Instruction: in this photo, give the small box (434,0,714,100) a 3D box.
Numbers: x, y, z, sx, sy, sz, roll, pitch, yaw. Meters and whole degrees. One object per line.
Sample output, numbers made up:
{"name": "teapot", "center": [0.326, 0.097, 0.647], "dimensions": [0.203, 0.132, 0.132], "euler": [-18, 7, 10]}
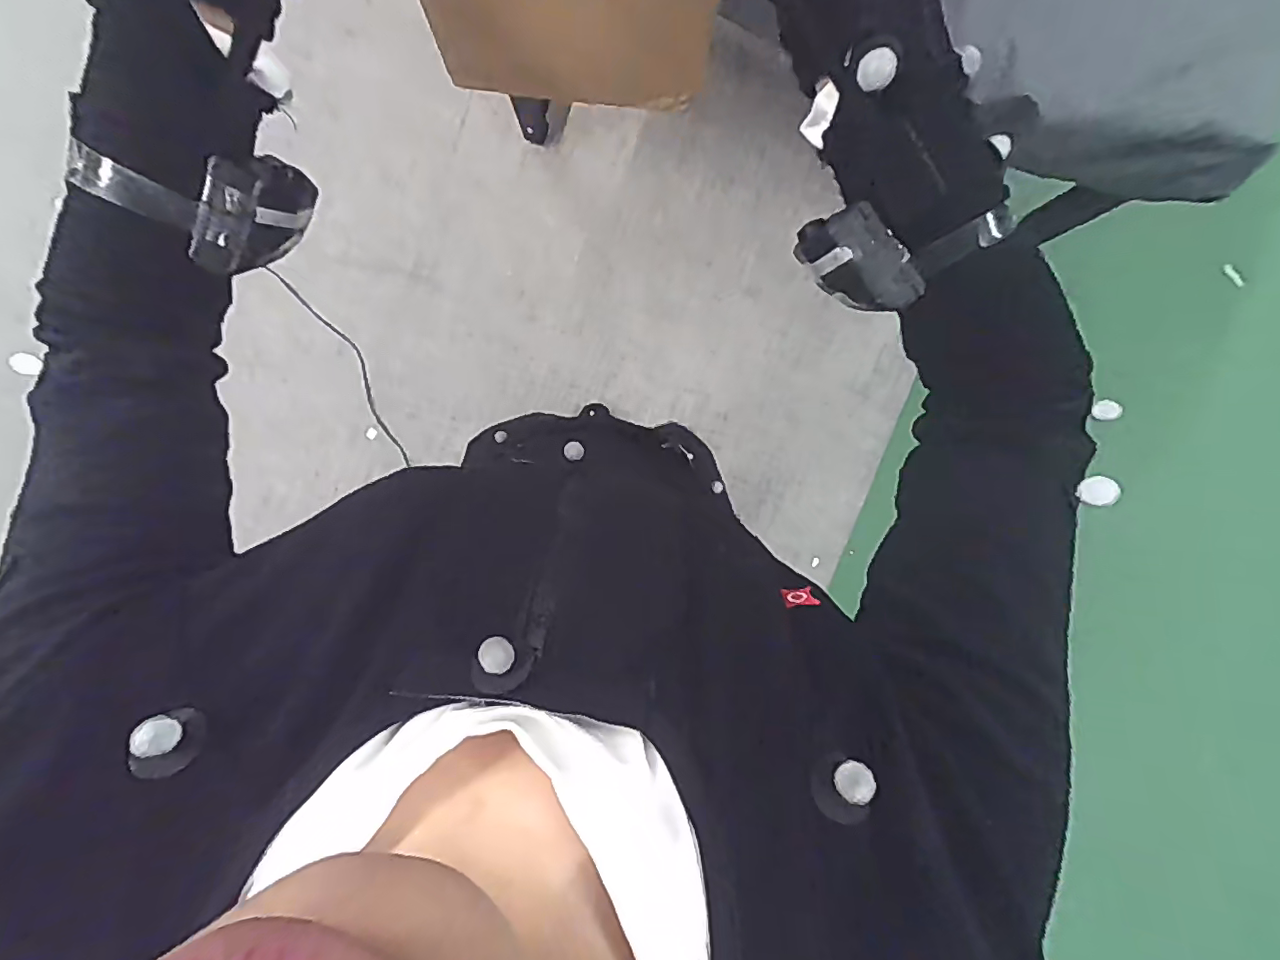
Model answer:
{"name": "small box", "center": [-0.036, -0.359, 0.311], "dimensions": [0.179, 0.176, 0.168], "euler": [4, 93, -5]}
